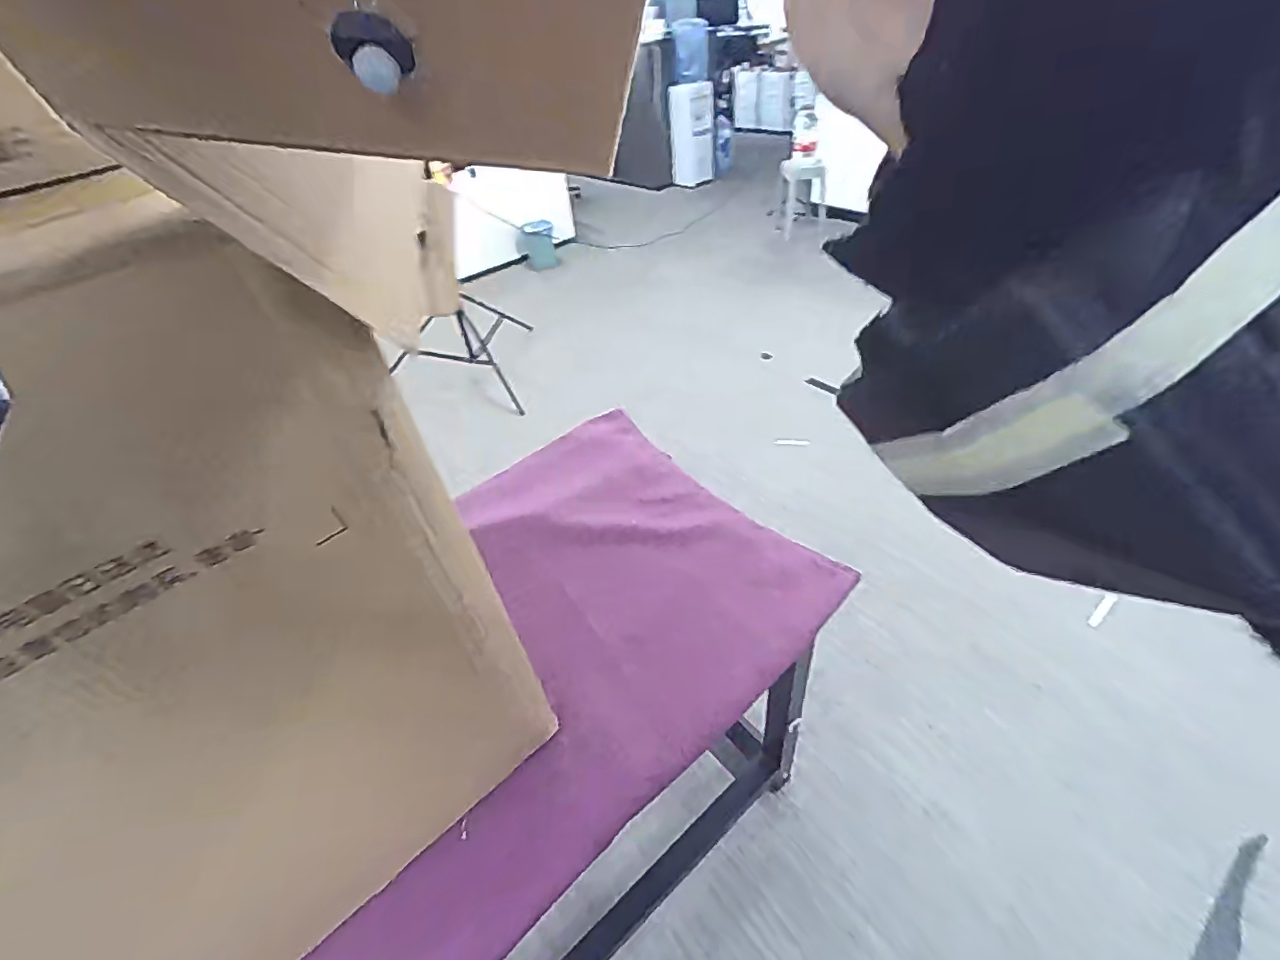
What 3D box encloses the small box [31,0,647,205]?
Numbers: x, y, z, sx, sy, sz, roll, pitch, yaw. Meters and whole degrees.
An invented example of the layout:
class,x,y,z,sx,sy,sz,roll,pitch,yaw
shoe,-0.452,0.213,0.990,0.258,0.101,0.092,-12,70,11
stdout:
class,x,y,z,sx,sy,sz,roll,pitch,yaw
small box,-0.082,-0.208,0.144,0.179,0.176,0.168,-2,75,-14
